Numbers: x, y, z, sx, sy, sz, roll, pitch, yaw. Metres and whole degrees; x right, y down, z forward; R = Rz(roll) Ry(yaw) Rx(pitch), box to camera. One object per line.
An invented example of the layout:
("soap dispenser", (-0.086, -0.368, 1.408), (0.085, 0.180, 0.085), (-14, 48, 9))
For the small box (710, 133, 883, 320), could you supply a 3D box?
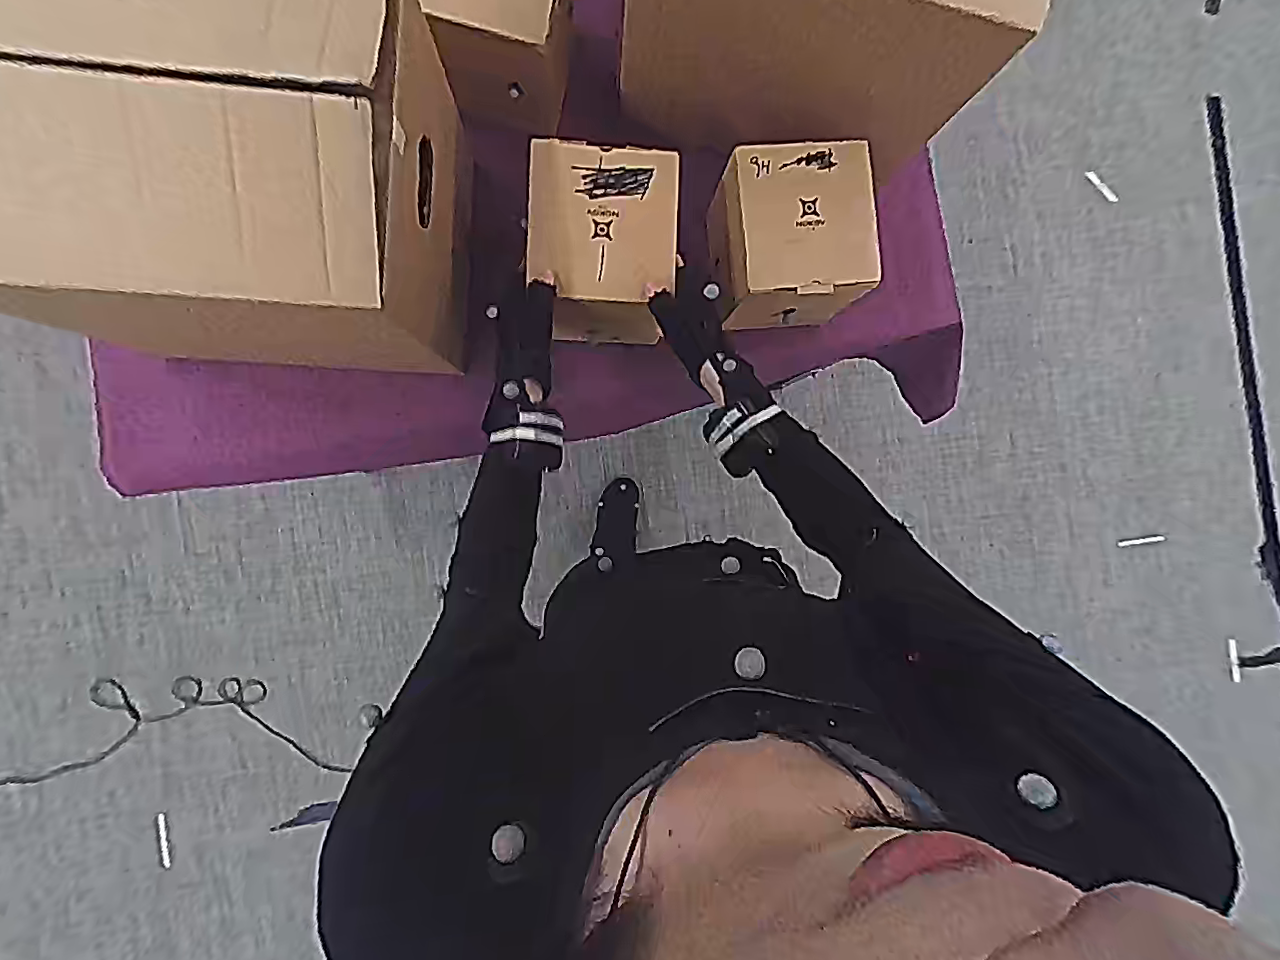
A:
("small box", (0.194, -0.317, 0.711), (0.168, 0.176, 0.179), (-5, 91, -6))
